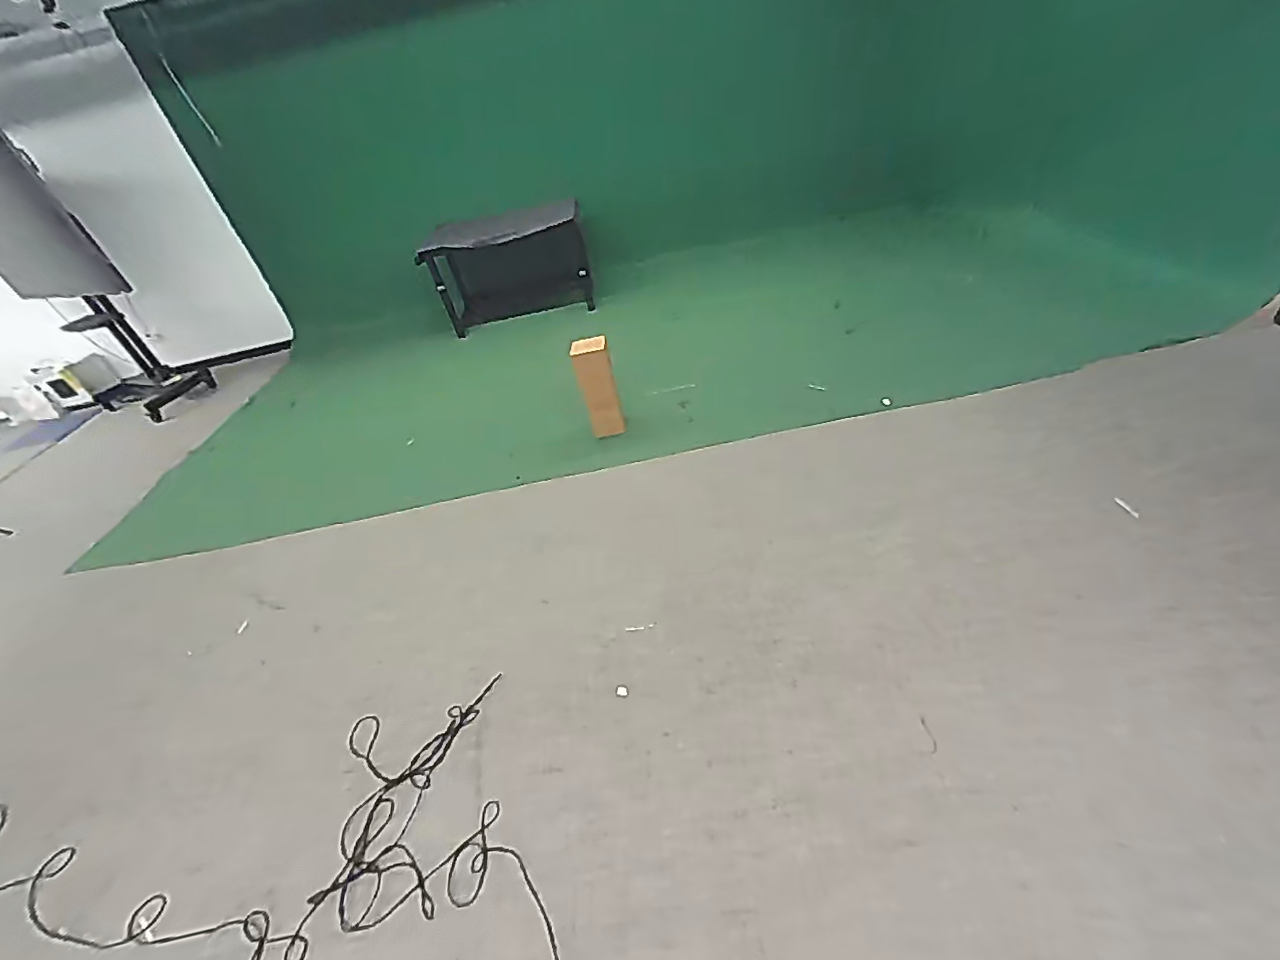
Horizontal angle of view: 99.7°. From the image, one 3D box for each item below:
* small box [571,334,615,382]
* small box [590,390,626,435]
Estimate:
[{"bbox_3d":[-0.235,-0.612,2.734,0.179,0.176,0.168,-9,38,7],"label":"small box"},{"bbox_3d":[-0.173,-0.360,2.937,0.168,0.176,0.179,-11,37,4],"label":"small box"}]
